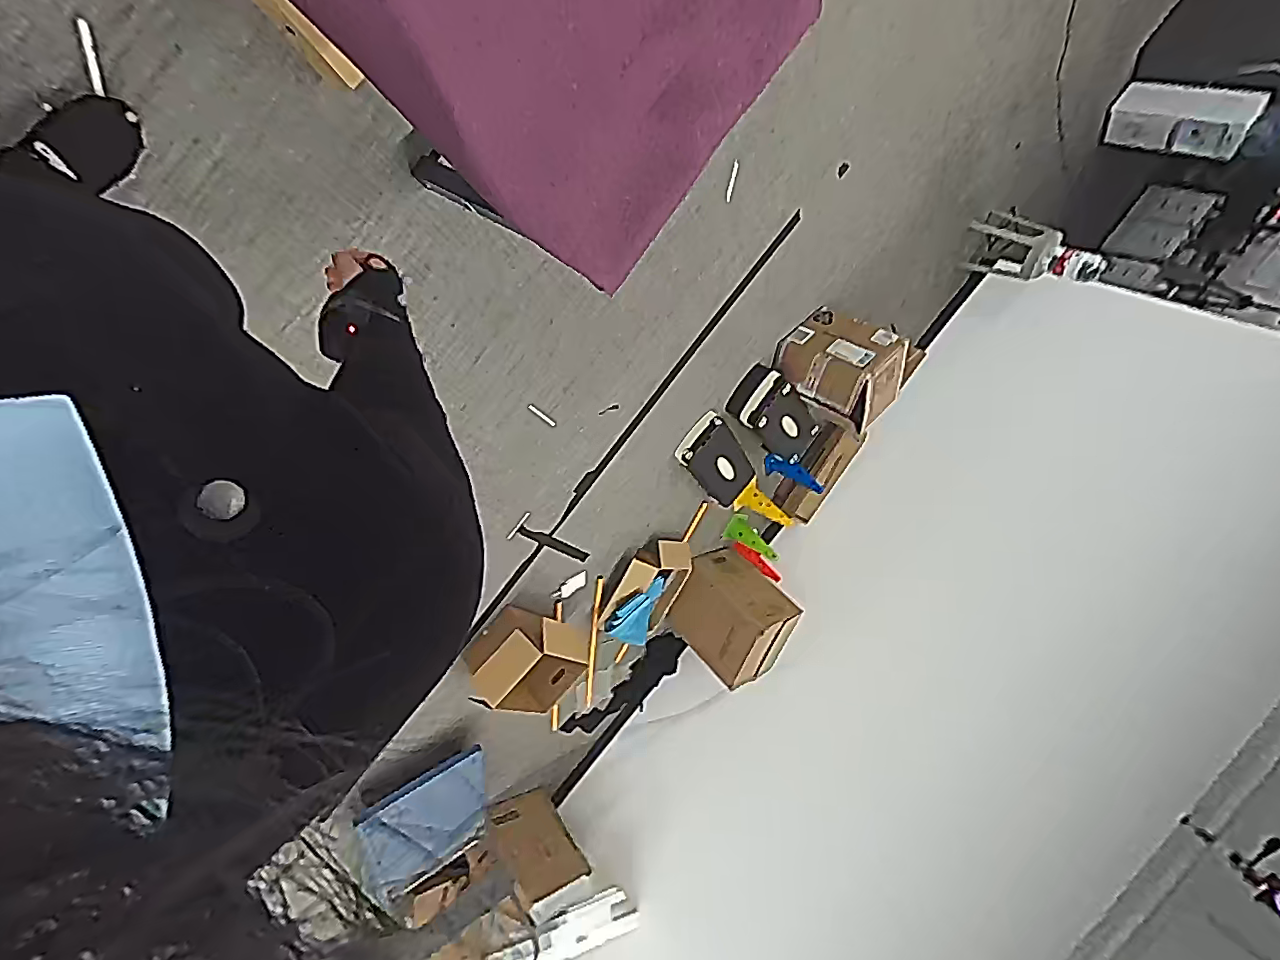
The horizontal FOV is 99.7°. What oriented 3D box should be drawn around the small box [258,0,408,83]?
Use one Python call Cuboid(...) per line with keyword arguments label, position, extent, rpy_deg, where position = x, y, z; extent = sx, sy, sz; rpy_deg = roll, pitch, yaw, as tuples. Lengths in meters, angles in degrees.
Cuboid(label="small box", position=(-0.573, -0.876, 0.993), extent=(0.179, 0.176, 0.168), rpy_deg=(-50, 145, -2))
